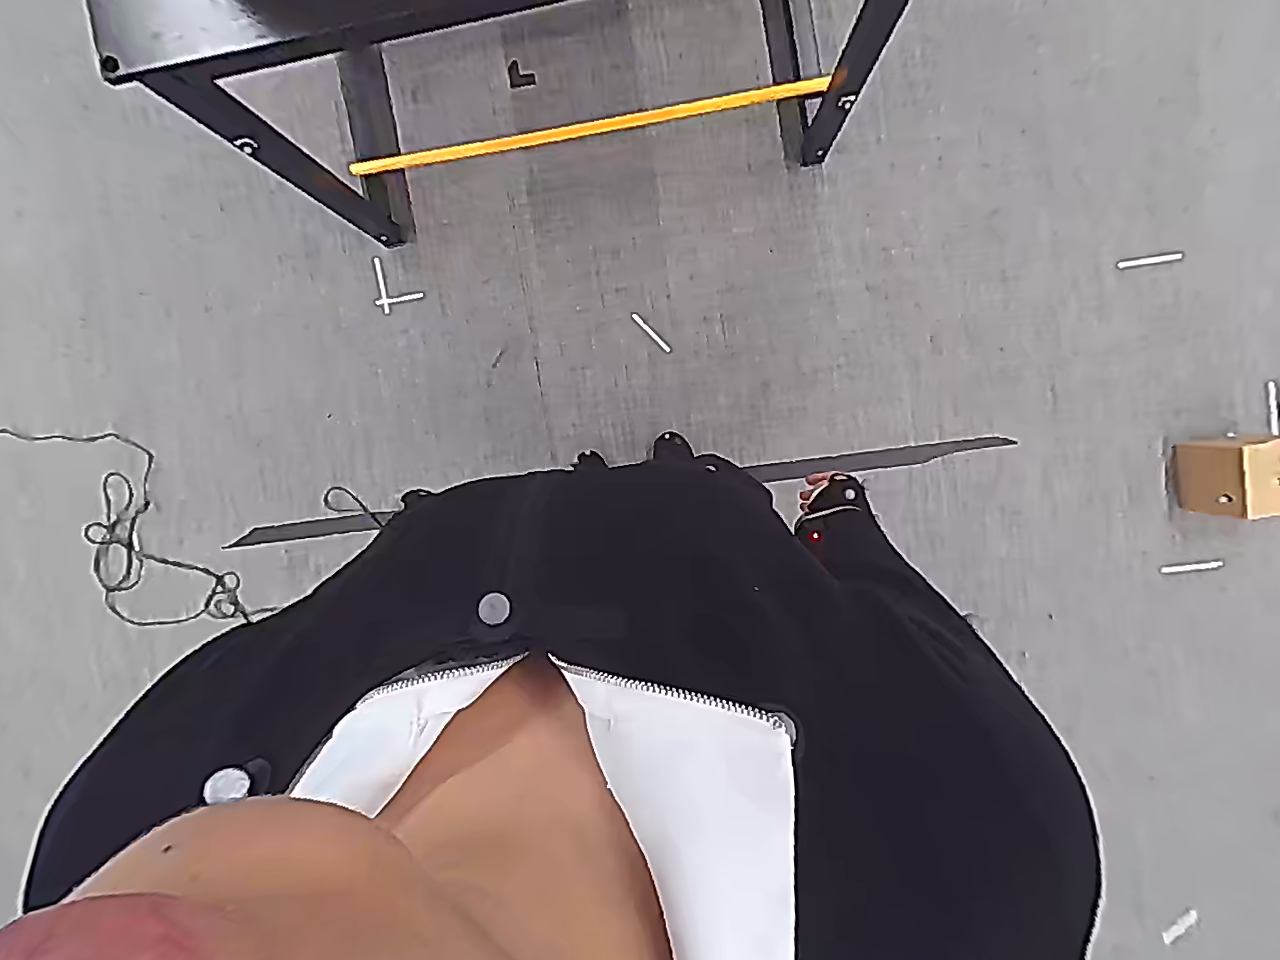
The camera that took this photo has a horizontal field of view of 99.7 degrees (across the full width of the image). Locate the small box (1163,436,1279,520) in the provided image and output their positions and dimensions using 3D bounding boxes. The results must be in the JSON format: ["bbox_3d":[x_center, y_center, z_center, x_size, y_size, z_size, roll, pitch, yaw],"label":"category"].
[{"bbox_3d":[1.456,-0.010,1.337,0.168,0.176,0.179,-9,95,4],"label":"small box"}]
